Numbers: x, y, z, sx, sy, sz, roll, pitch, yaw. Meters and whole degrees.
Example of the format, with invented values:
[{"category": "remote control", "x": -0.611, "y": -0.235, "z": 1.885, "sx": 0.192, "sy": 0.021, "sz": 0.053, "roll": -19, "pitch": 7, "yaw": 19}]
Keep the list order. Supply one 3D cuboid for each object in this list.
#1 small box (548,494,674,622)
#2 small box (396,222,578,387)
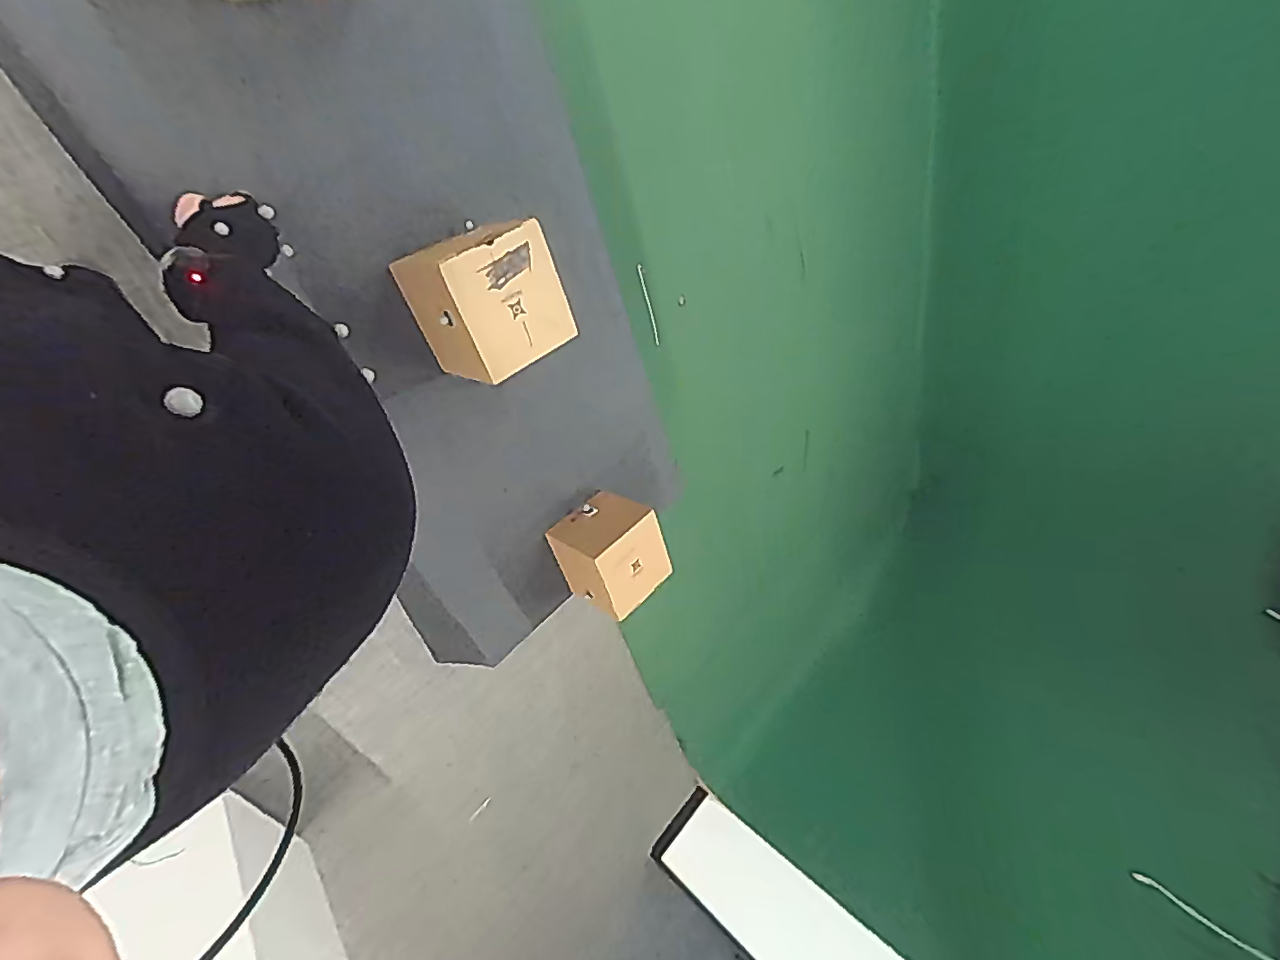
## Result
[{"category": "small box", "x": -0.059, "y": 0.154, "z": 1.124, "sx": 0.168, "sy": 0.176, "sz": 0.179, "roll": -40, "pitch": 128, "yaw": -29}, {"category": "small box", "x": -0.227, "y": -0.261, "z": 0.803, "sx": 0.168, "sy": 0.176, "sz": 0.179, "roll": -40, "pitch": 130, "yaw": -27}]
